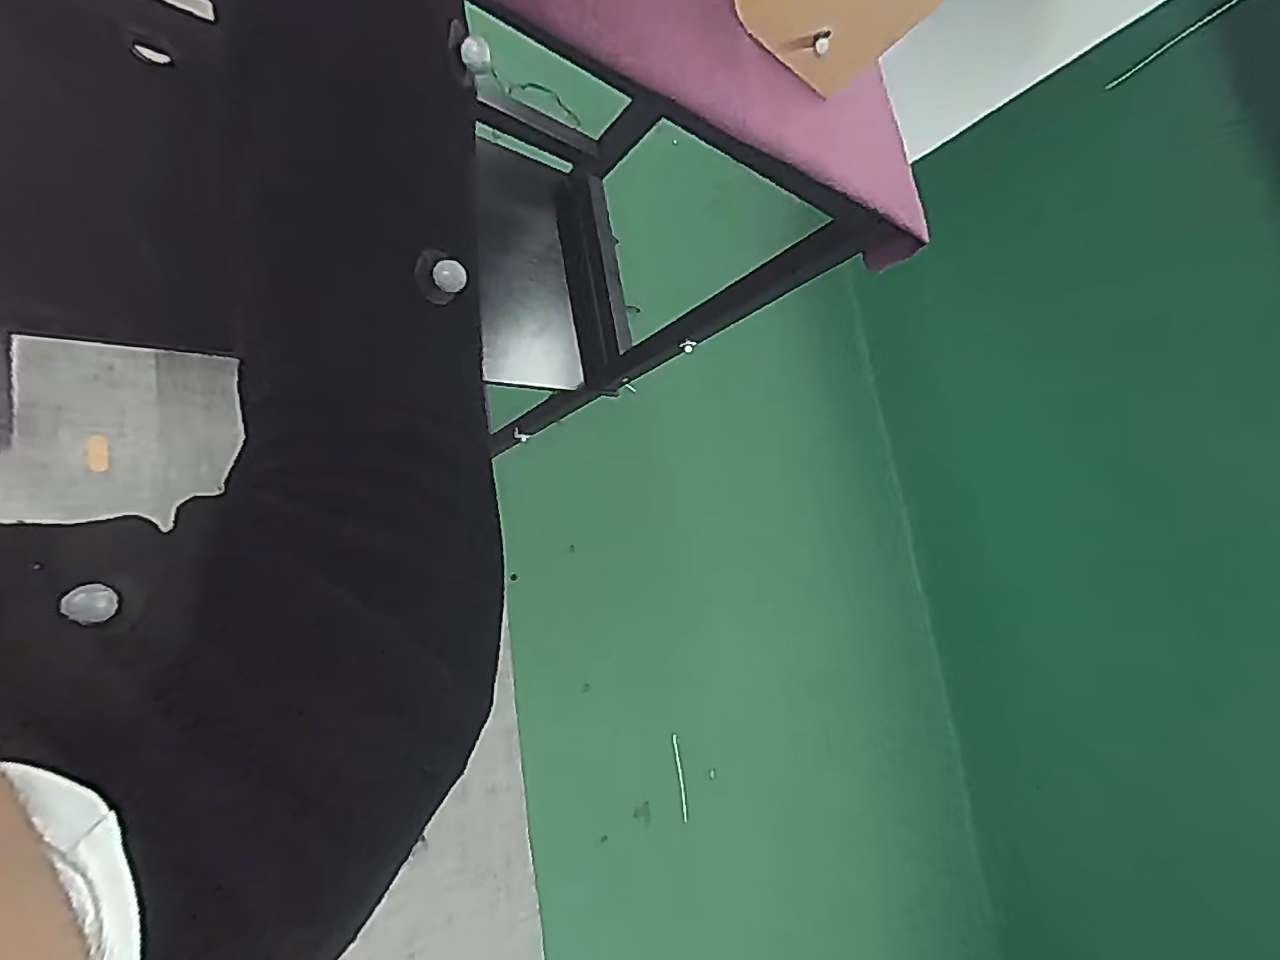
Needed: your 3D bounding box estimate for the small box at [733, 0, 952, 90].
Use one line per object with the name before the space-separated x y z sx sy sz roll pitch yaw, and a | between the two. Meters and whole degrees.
small box | 0.203 -0.554 0.553 0.179 0.176 0.168 -2 77 -42
